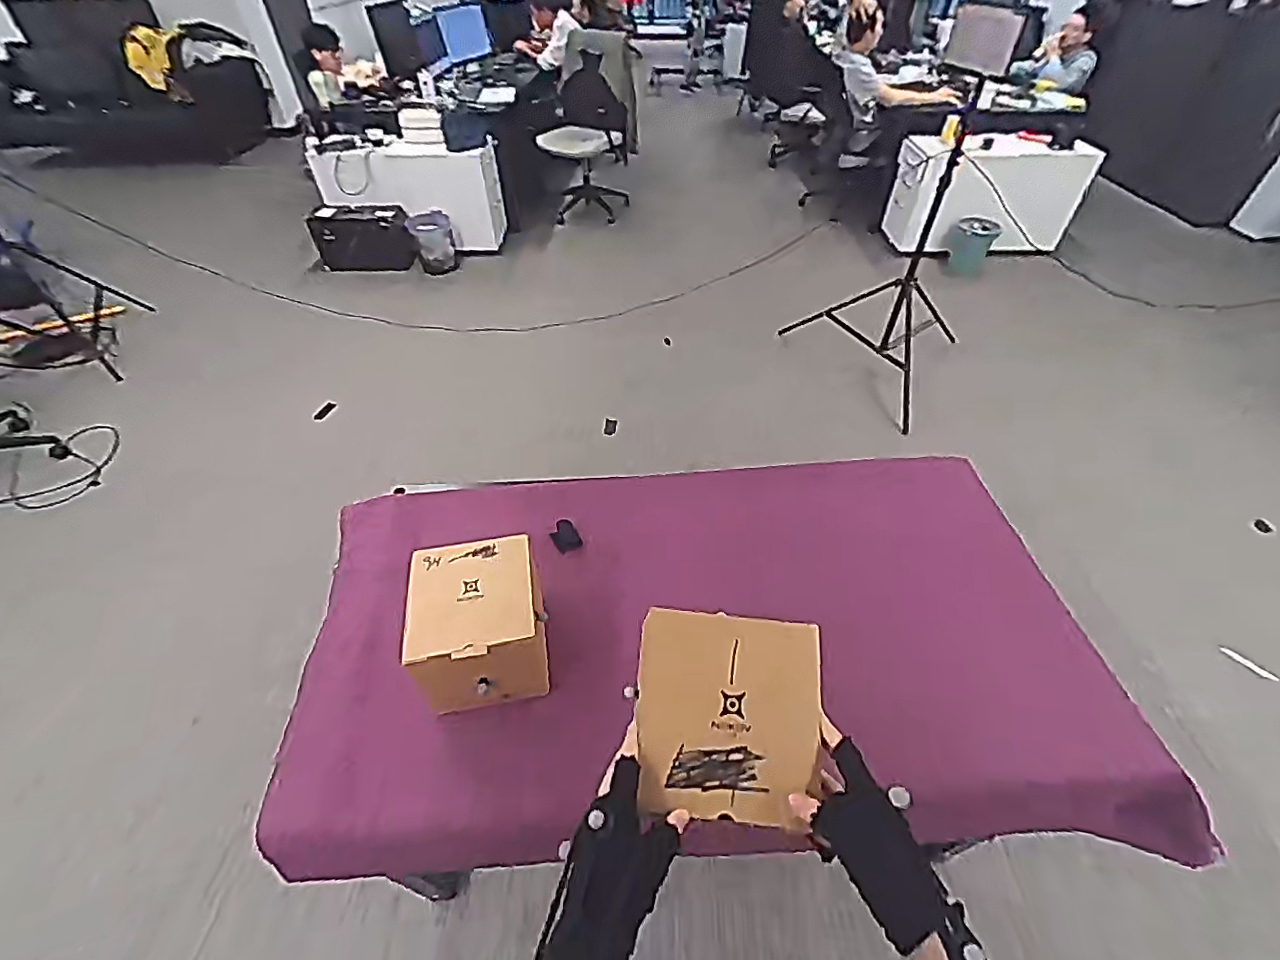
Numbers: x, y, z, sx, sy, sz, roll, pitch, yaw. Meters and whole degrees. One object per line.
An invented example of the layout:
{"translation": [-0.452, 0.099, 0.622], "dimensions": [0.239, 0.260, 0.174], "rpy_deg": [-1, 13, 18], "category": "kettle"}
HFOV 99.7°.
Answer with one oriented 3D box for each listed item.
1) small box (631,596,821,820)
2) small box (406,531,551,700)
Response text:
{"translation": [0.082, 0.230, 0.569], "dimensions": [0.168, 0.176, 0.179], "rpy_deg": [6, 69, 0], "category": "small box"}
{"translation": [-0.226, 0.203, 0.790], "dimensions": [0.168, 0.176, 0.179], "rpy_deg": [-8, 47, -8], "category": "small box"}
